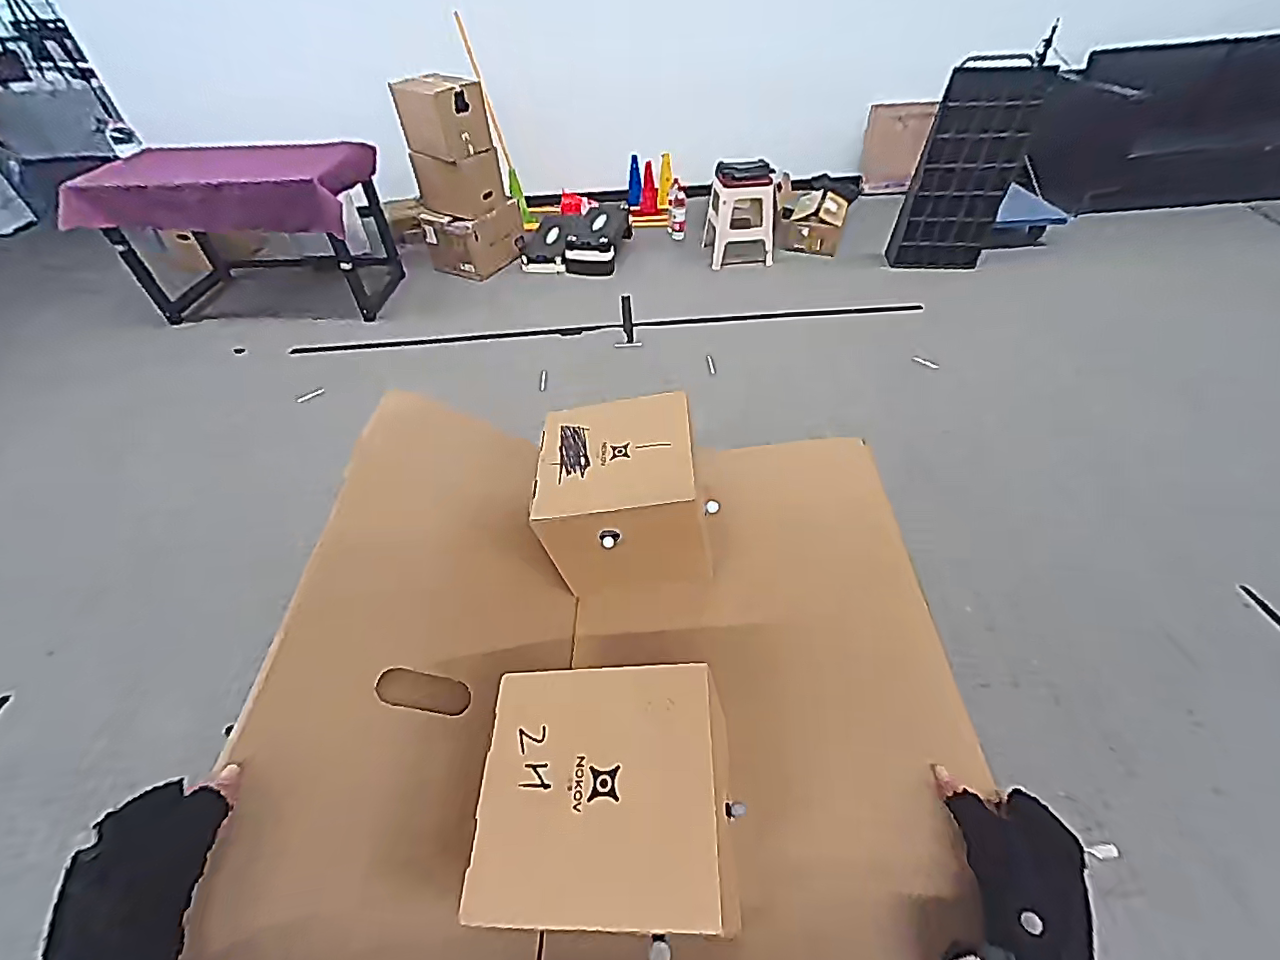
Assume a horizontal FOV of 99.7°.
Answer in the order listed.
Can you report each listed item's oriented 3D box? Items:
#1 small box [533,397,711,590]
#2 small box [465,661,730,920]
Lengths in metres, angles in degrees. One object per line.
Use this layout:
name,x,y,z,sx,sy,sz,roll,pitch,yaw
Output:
small box,-0.012,0.023,0.670,0.179,0.176,0.168,-7,49,9
small box,-0.016,0.267,0.464,0.179,0.176,0.168,-6,49,11
